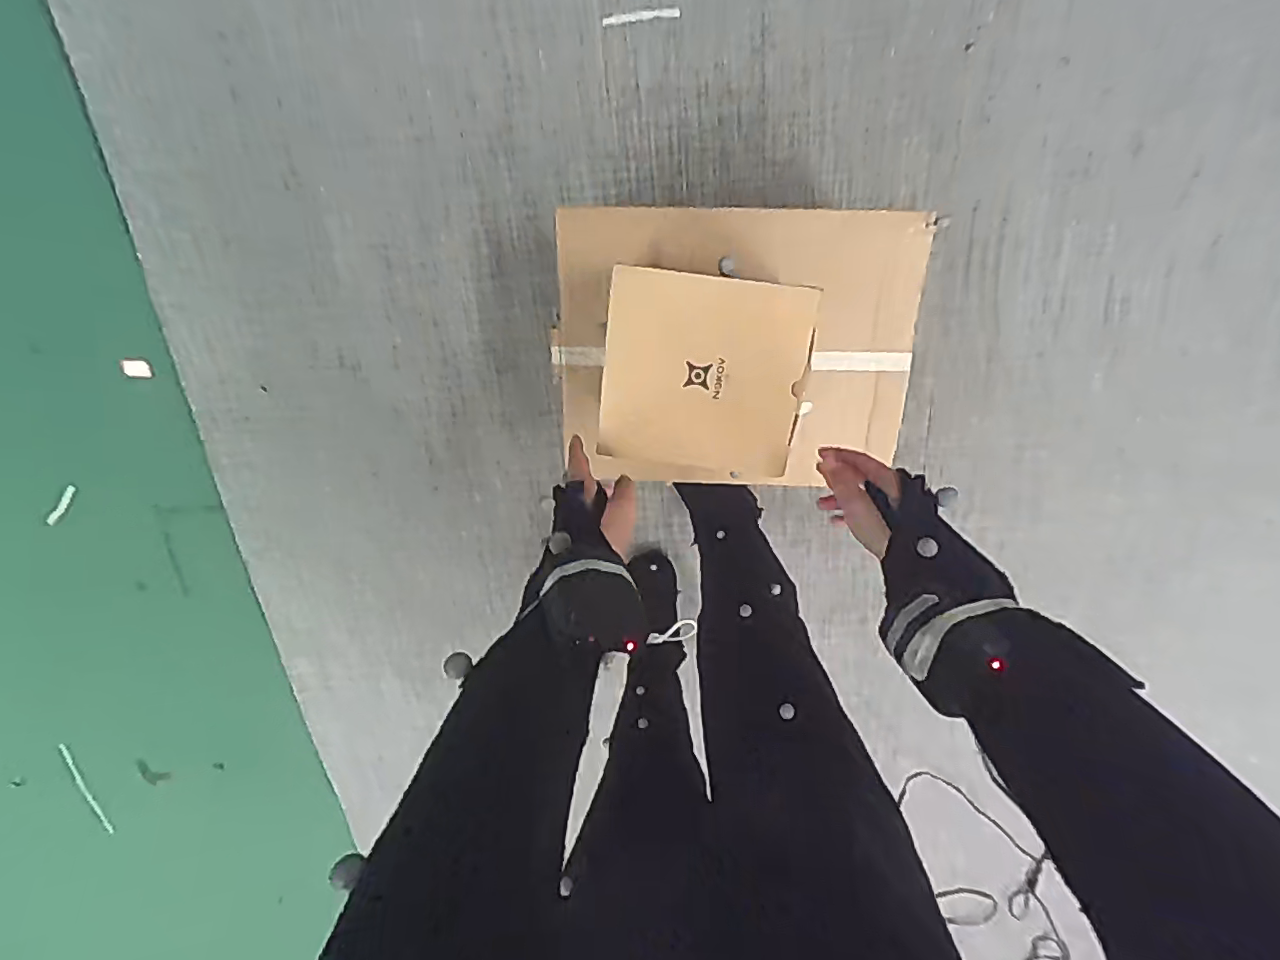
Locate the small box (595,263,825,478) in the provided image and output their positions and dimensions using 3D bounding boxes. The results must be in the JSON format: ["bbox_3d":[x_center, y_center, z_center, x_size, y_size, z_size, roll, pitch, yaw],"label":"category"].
[{"bbox_3d":[0.058,-0.114,0.539,0.179,0.176,0.168,7,110,0],"label":"small box"}]

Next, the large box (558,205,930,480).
[{"bbox_3d":[0.112,-0.195,0.766,0.408,0.320,0.320,1,111,1],"label":"large box"}]
